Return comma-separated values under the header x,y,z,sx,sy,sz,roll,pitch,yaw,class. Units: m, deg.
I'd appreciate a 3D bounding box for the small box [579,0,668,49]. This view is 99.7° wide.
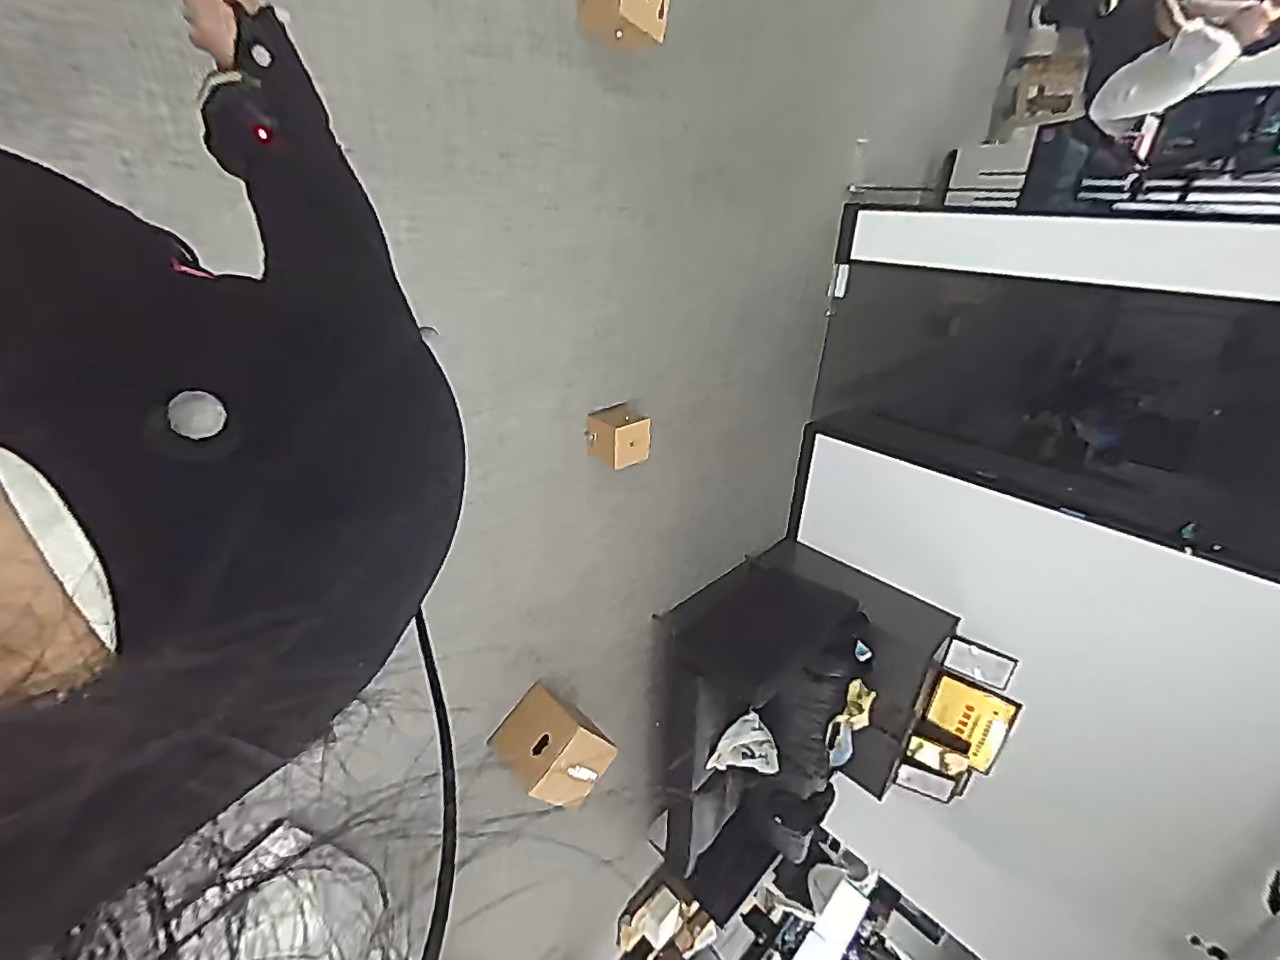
x,y,z,sx,sy,sz,roll,pitch,yaw,class
-0.043,-1.298,1.454,0.179,0.176,0.168,-9,118,-44,small box

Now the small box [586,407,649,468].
x,y,z,sx,sy,sz,roll,pitch,yaw,class
-0.087,-0.170,2.064,0.179,0.176,0.168,-22,125,-37,small box
